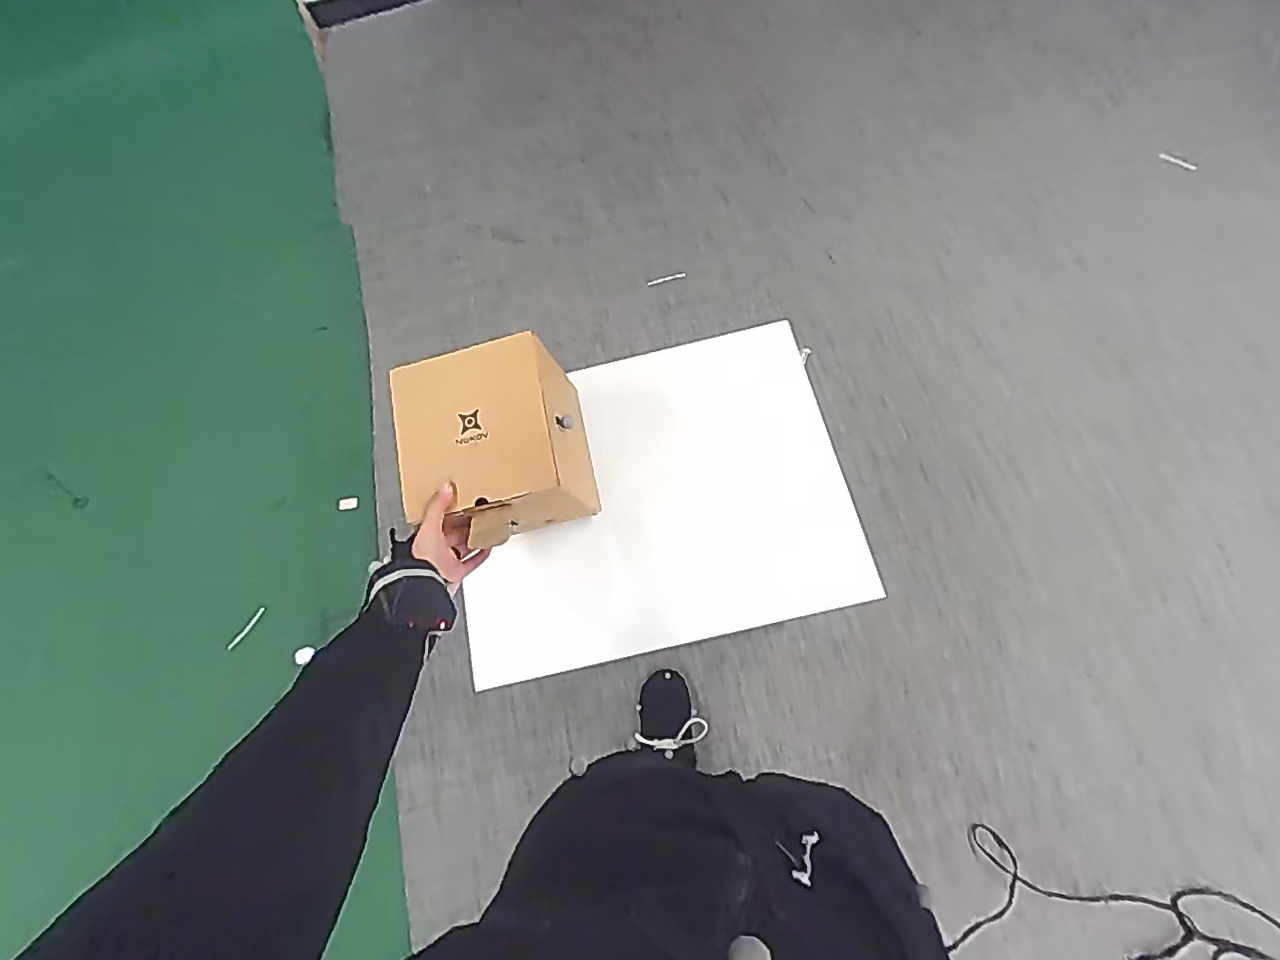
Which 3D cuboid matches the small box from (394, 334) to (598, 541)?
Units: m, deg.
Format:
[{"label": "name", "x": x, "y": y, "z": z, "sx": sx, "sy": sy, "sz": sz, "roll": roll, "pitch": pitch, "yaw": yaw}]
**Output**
[{"label": "small box", "x": -0.157, "y": -0.037, "z": 0.628, "sx": 0.168, "sy": 0.176, "sz": 0.179, "roll": -14, "pitch": 77, "yaw": 6}]
